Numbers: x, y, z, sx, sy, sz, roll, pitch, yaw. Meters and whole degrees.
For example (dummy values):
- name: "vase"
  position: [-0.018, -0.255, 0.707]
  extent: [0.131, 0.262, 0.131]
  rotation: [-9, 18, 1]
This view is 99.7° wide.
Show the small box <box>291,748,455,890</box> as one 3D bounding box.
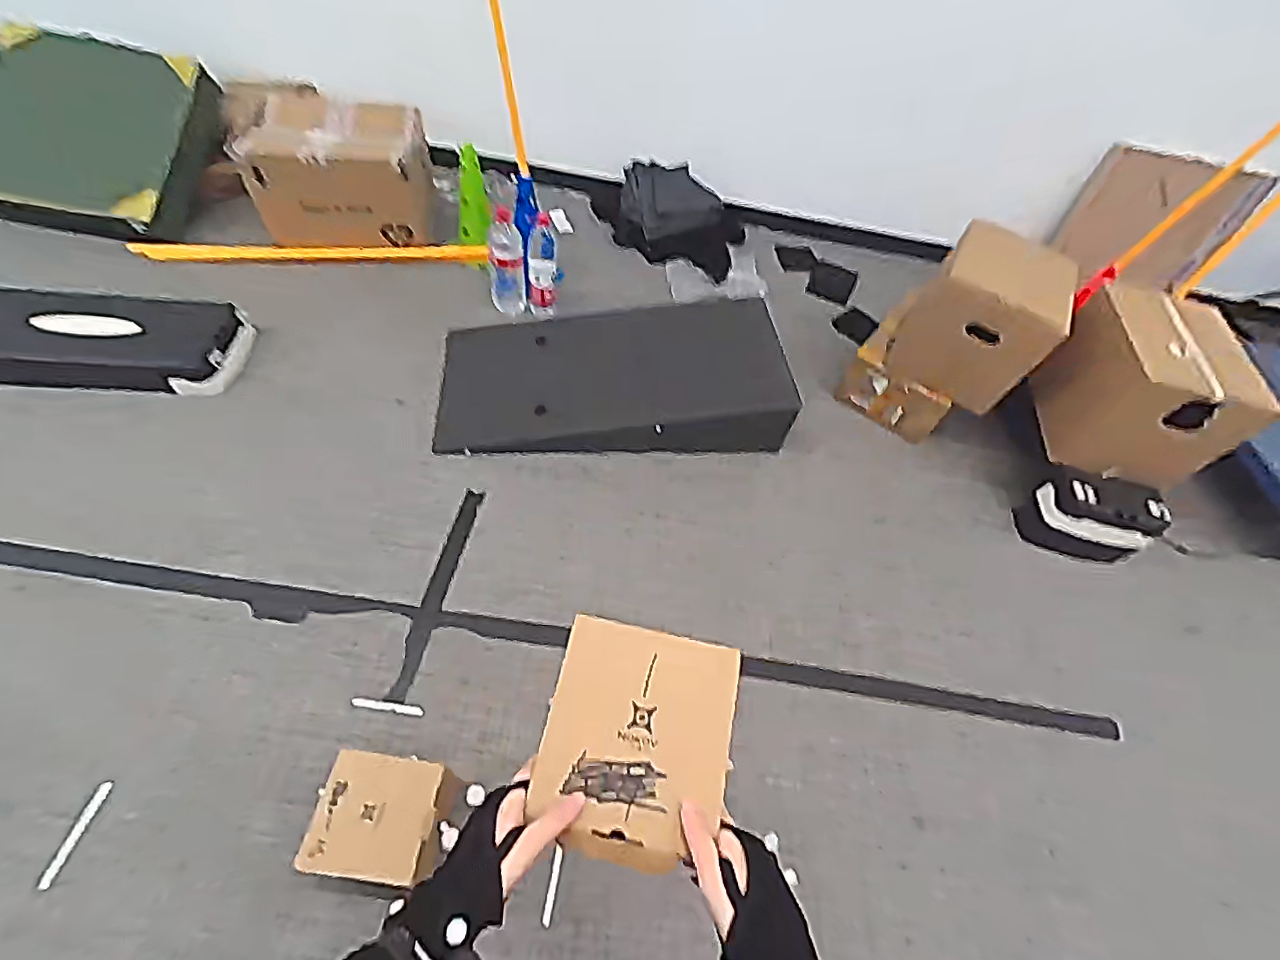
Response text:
- name: "small box"
  position: [-0.424, 0.562, 0.898]
  extent: [0.179, 0.176, 0.168]
  rotation: [12, 54, -2]

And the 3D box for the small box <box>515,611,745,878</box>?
- name: "small box"
  position: [-0.003, 0.251, 0.530]
  extent: [0.168, 0.176, 0.179]
  rotation: [12, 62, 5]
